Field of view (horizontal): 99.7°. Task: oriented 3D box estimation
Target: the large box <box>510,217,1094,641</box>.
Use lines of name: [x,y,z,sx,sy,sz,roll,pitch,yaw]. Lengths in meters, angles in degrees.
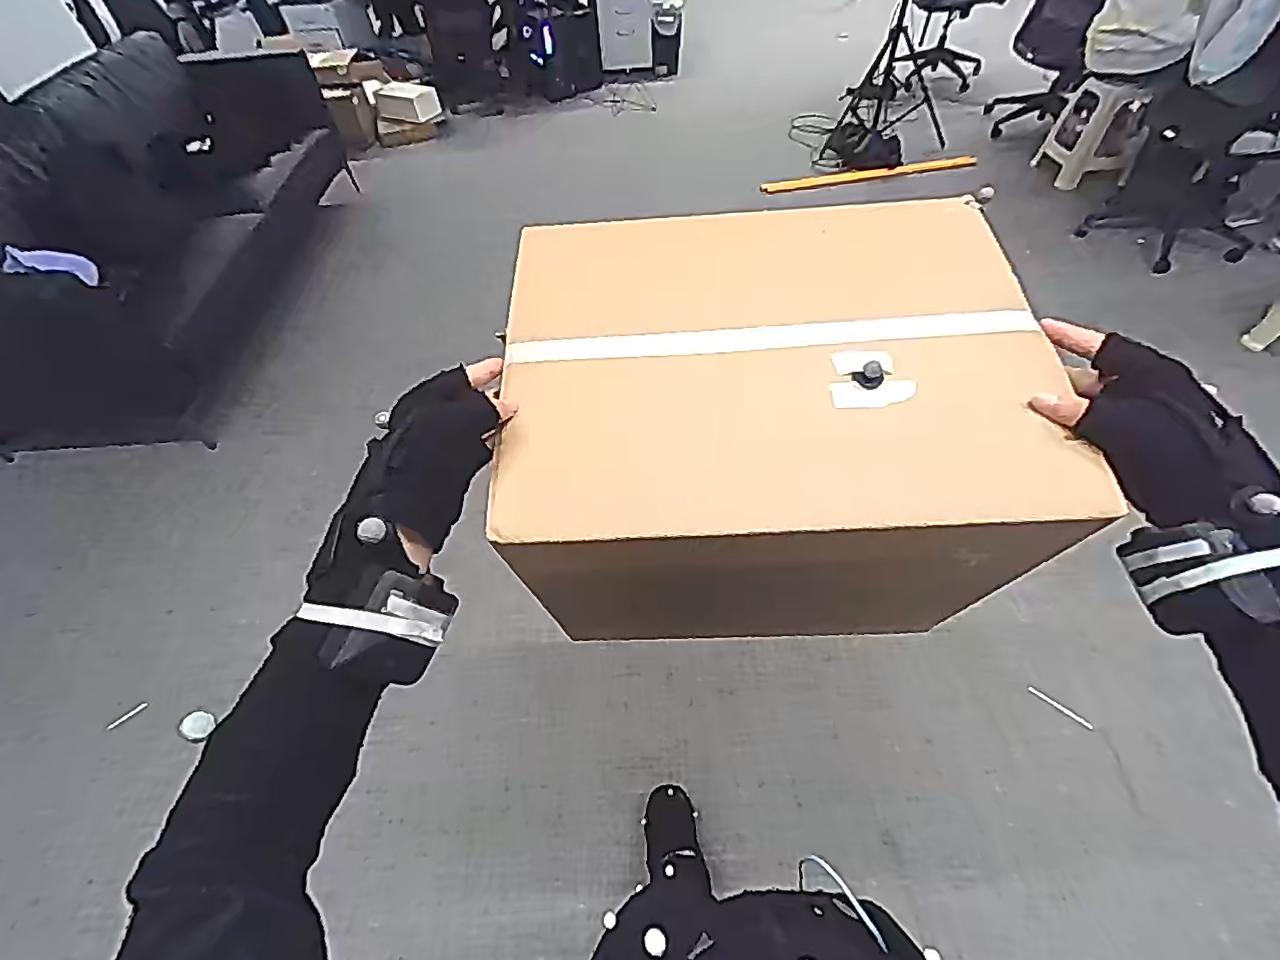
large box: [0.107,-0.029,0.565,0.408,0.320,0.320,-3,62,2]
